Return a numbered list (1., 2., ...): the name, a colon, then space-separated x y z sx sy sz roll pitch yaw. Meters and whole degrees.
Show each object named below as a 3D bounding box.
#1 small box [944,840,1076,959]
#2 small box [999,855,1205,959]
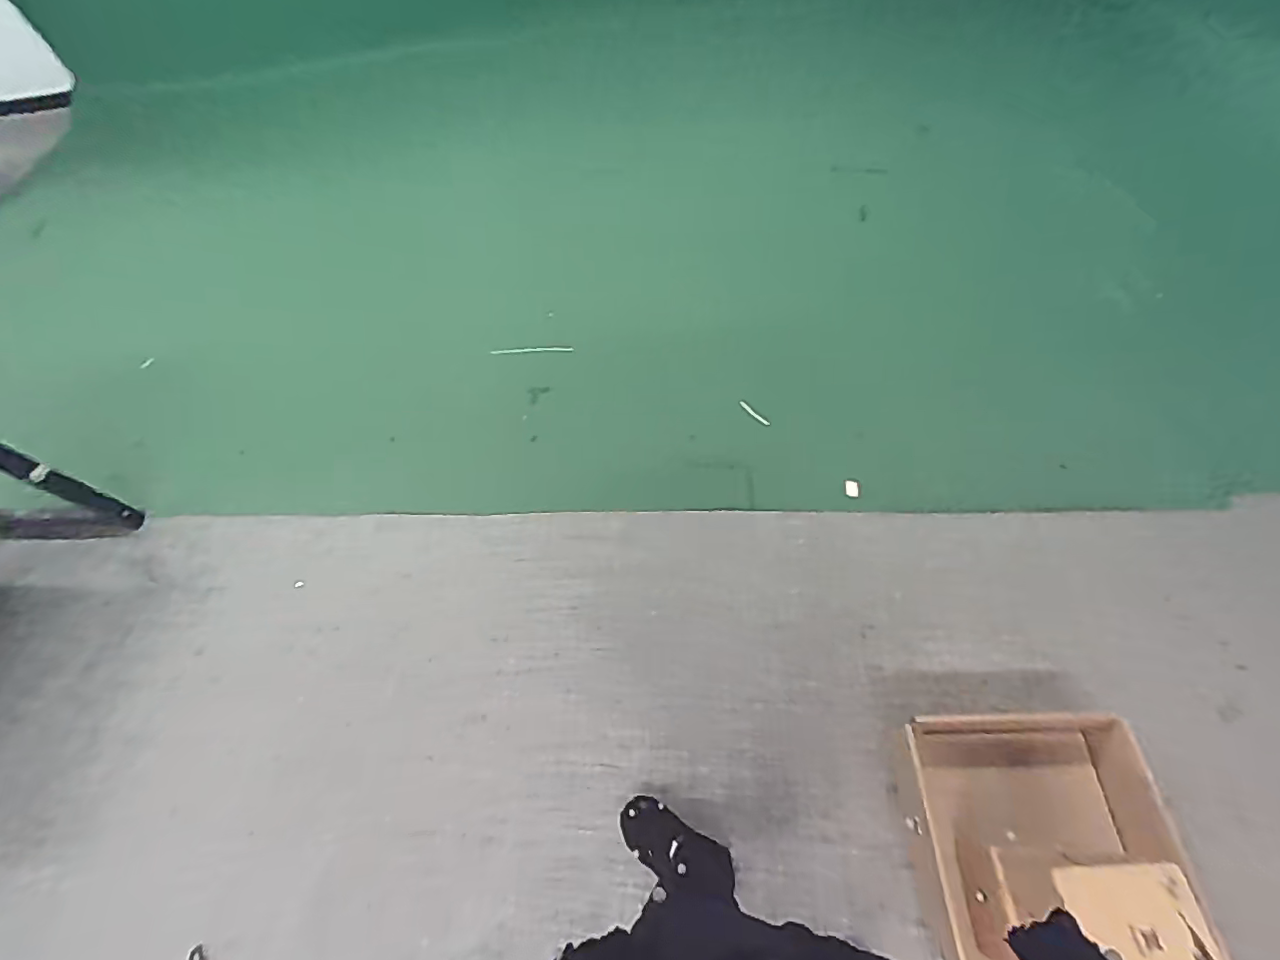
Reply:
1. small box: 0.672 0.753 0.961 0.168 0.176 0.179 -1 58 5
2. small box: 0.672 0.665 0.804 0.179 0.176 0.168 -5 59 4
